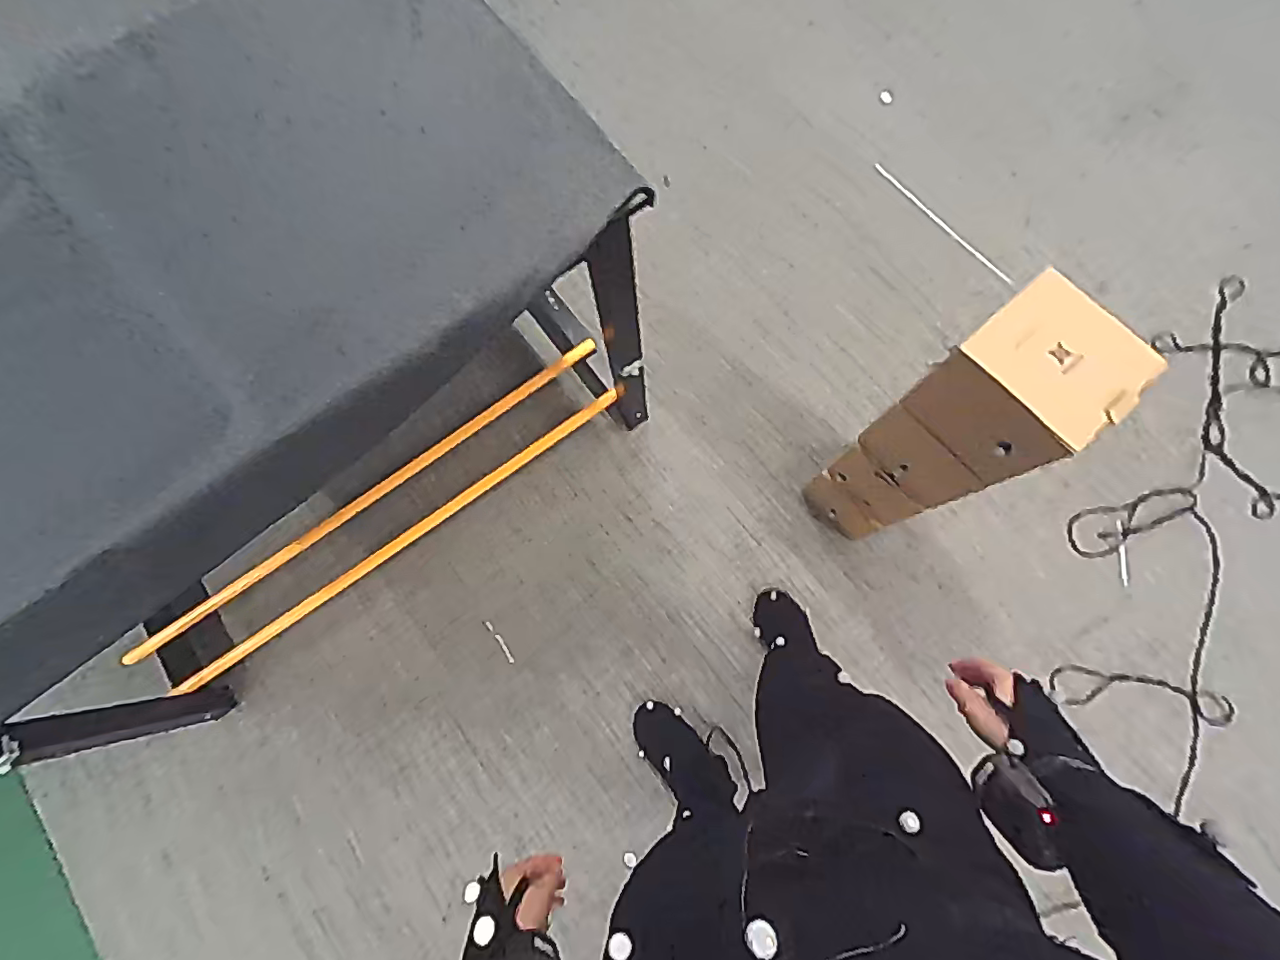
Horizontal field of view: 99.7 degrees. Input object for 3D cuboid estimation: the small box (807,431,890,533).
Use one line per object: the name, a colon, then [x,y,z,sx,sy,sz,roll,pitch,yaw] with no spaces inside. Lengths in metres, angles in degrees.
small box: [0.494,-0.007,1.178,0.179,0.176,0.168,-42,78,-7]

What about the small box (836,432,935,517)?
small box: [0.497,-0.051,1.019,0.179,0.176,0.168,-41,79,-8]

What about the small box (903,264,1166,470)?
small box: [0.489,-0.130,0.702,0.168,0.176,0.179,-41,78,-8]

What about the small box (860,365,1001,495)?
small box: [0.493,-0.092,0.861,0.168,0.176,0.179,-41,79,-7]
